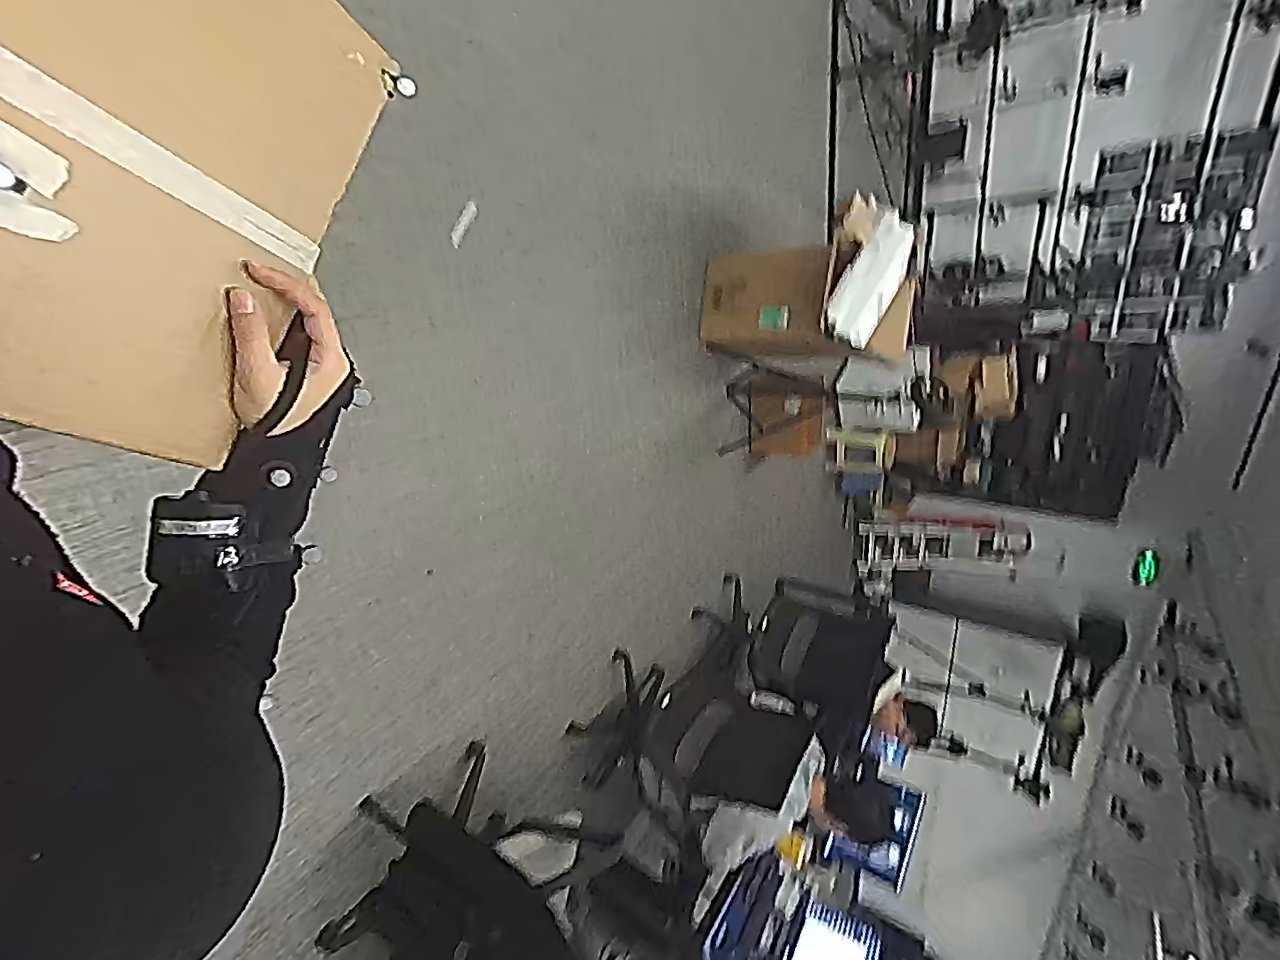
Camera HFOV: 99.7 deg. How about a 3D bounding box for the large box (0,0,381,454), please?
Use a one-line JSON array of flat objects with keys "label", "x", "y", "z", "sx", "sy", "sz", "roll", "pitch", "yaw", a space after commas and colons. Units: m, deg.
[{"label": "large box", "x": -0.453, "y": -0.238, "z": 0.296, "sx": 0.408, "sy": 0.320, "sz": 0.320, "roll": 26, "pitch": 83, "yaw": -57}]
